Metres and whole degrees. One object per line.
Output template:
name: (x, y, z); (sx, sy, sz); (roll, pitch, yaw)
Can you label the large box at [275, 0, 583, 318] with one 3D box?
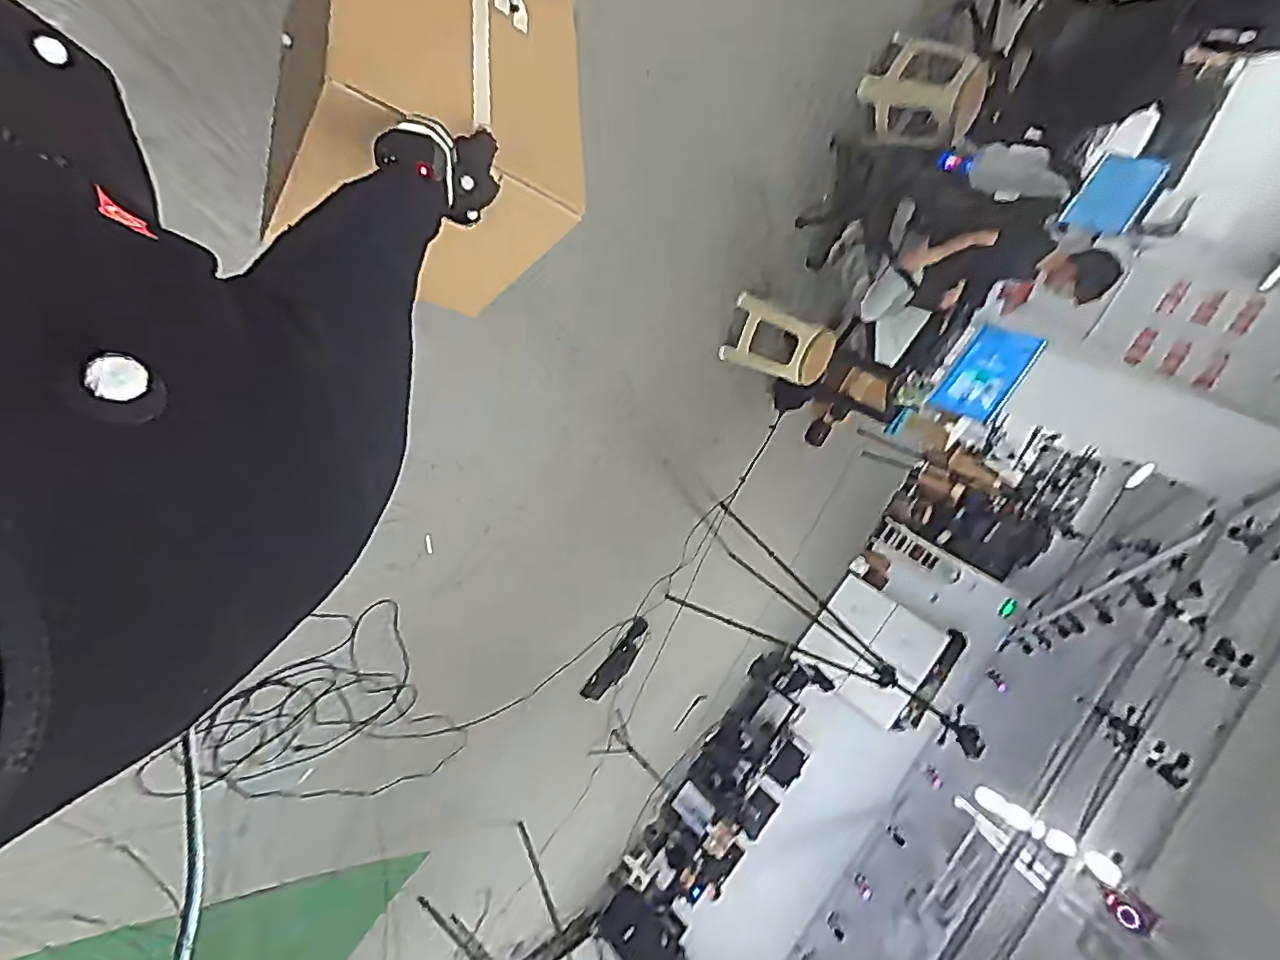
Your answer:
large box: (-0.309, -0.515, 0.784); (0.320, 0.320, 0.408); (10, 69, -44)
